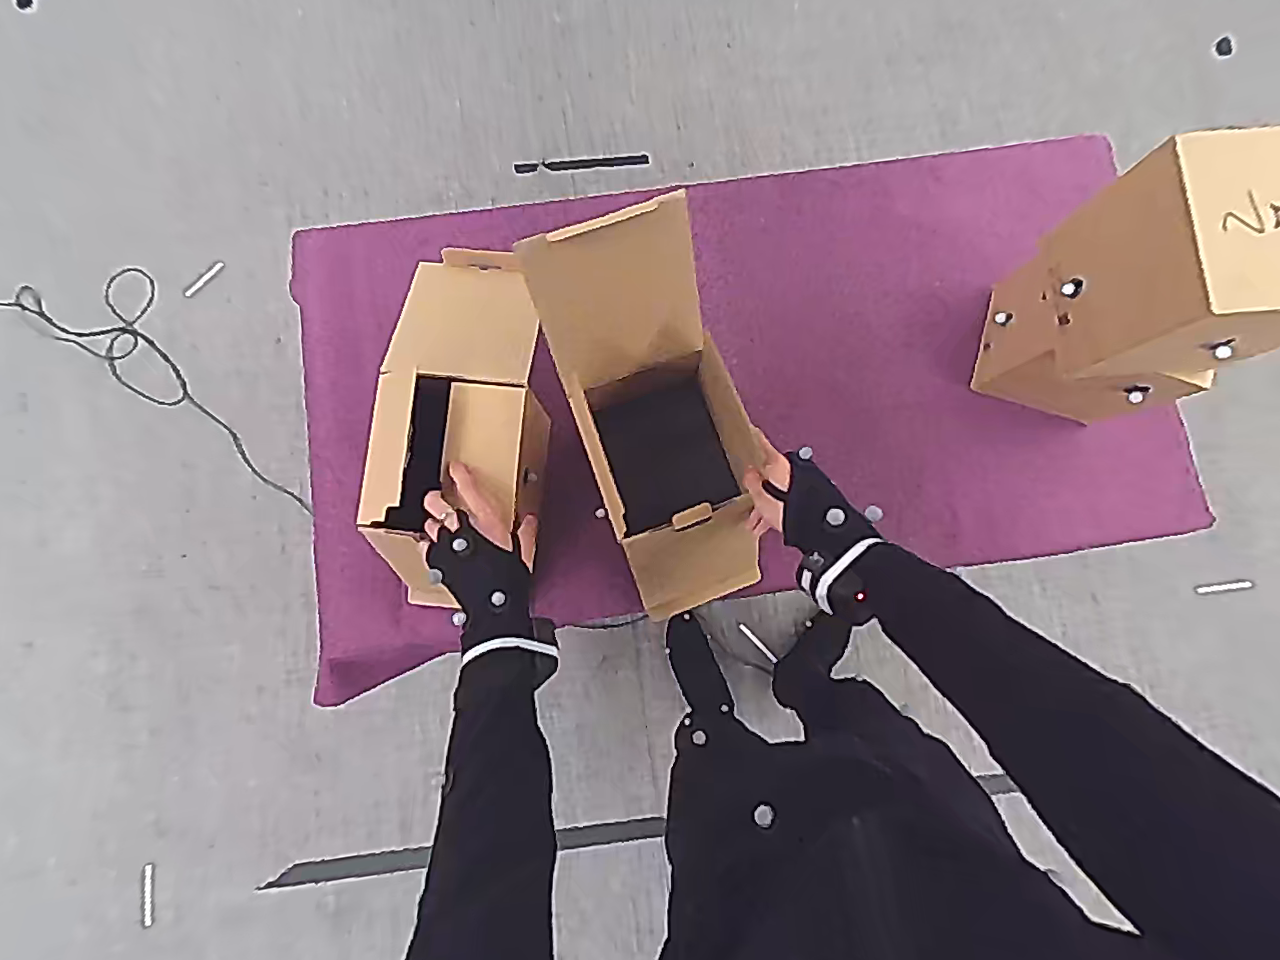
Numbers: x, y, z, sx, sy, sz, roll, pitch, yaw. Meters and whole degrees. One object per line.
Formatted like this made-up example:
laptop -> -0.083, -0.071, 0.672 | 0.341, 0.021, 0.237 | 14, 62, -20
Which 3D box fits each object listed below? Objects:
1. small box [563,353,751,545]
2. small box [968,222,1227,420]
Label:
small box -> 0.017, -0.027, 0.671 | 0.168, 0.176, 0.179 | -20, 82, -4
small box -> 0.570, -0.189, 0.696 | 0.179, 0.176, 0.168 | 18, 82, 2
